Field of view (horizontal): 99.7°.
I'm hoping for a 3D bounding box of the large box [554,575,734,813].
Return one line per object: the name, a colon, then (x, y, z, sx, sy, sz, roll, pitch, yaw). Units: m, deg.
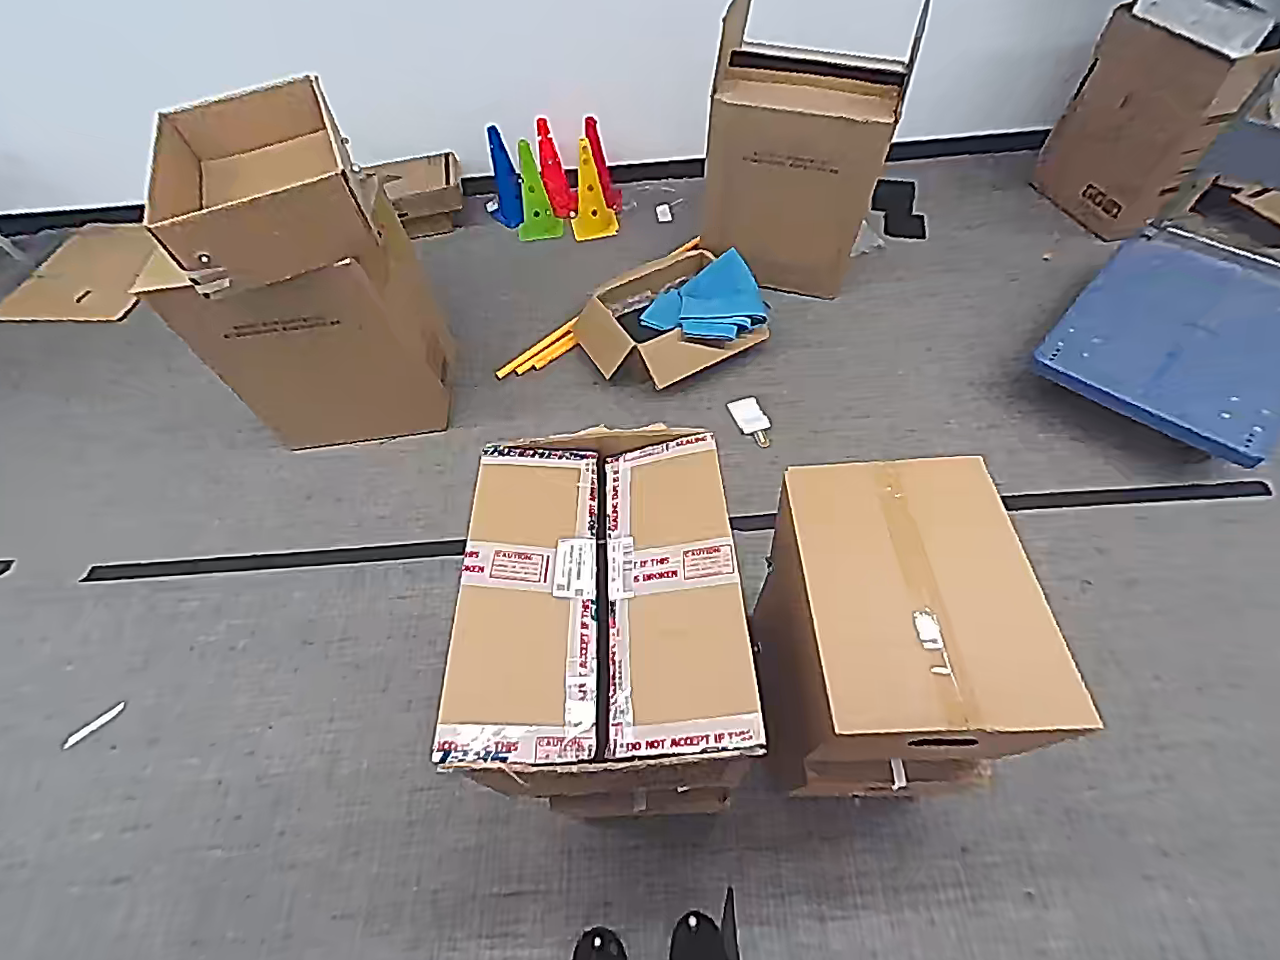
large box: (0.000, 0.456, 1.144, 0.320, 0.320, 0.408, -5, 56, 1)
